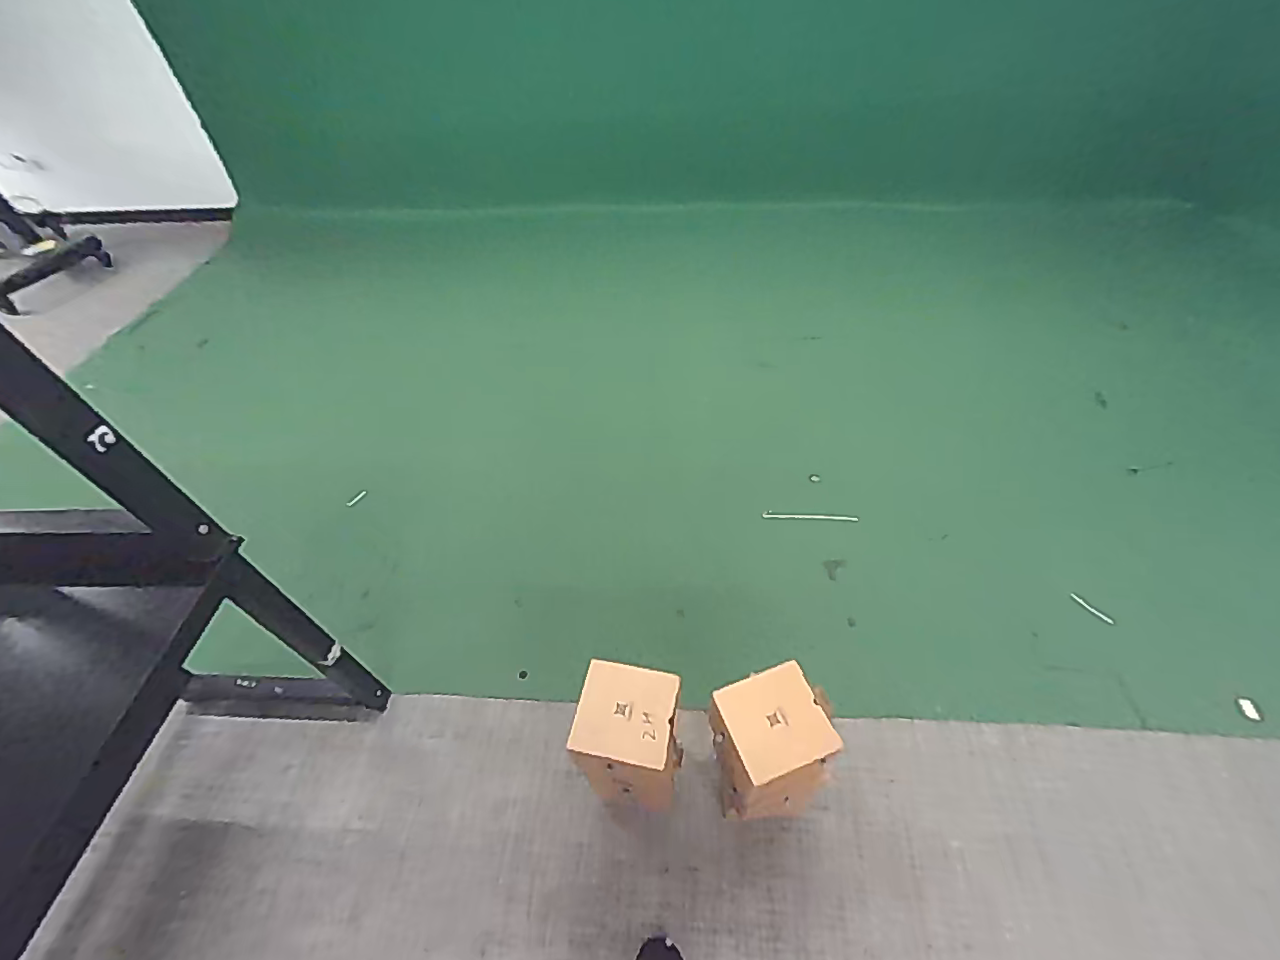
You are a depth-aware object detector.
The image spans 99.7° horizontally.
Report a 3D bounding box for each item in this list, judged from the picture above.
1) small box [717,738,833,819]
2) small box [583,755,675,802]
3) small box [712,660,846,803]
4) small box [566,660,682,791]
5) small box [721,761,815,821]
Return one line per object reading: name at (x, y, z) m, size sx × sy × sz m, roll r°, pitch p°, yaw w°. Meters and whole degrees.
small box at (0.265, 0.576, 1.115) m, size 0.179 × 0.176 × 0.168 m, roll -14°, pitch 51°, yaw -9°
small box at (-0.011, 0.561, 1.143) m, size 0.168 × 0.176 × 0.179 m, roll 6°, pitch 50°, yaw 9°
small box at (0.242, 0.466, 0.995) m, size 0.179 × 0.176 × 0.168 m, roll -17°, pitch 51°, yaw -12°
small box at (-0.020, 0.461, 1.011) m, size 0.179 × 0.176 × 0.168 m, roll 8°, pitch 50°, yaw 11°
small box at (0.282, 0.674, 1.244) m, size 0.179 × 0.176 × 0.168 m, roll -4°, pitch 49°, yaw -1°
